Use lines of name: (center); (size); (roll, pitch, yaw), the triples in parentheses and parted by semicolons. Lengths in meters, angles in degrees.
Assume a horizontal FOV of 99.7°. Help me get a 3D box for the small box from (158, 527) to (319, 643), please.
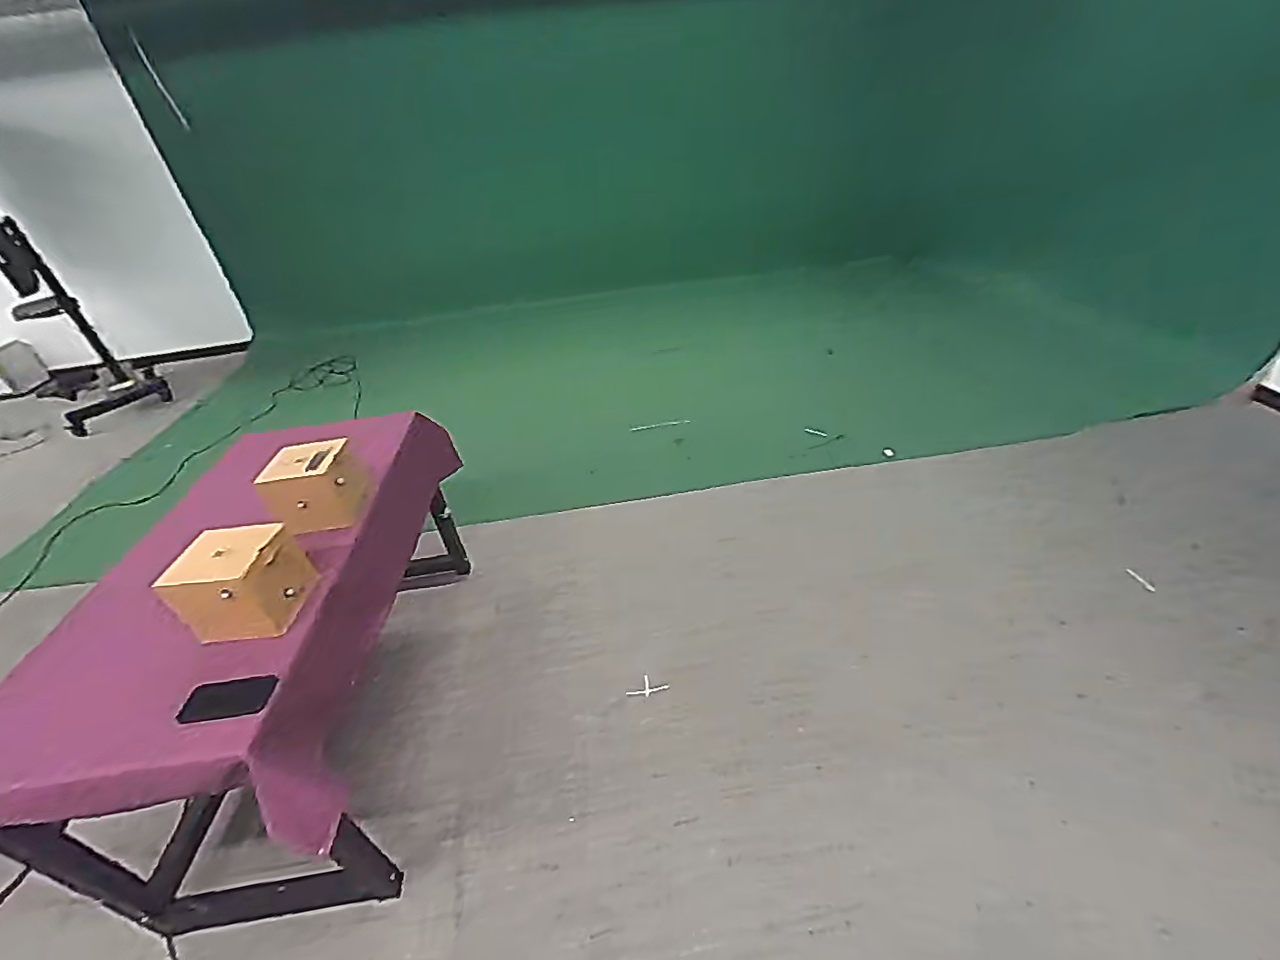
small box: (-0.819, 0.220, 1.125); (0.179, 0.176, 0.168); (-6, 35, 2)
